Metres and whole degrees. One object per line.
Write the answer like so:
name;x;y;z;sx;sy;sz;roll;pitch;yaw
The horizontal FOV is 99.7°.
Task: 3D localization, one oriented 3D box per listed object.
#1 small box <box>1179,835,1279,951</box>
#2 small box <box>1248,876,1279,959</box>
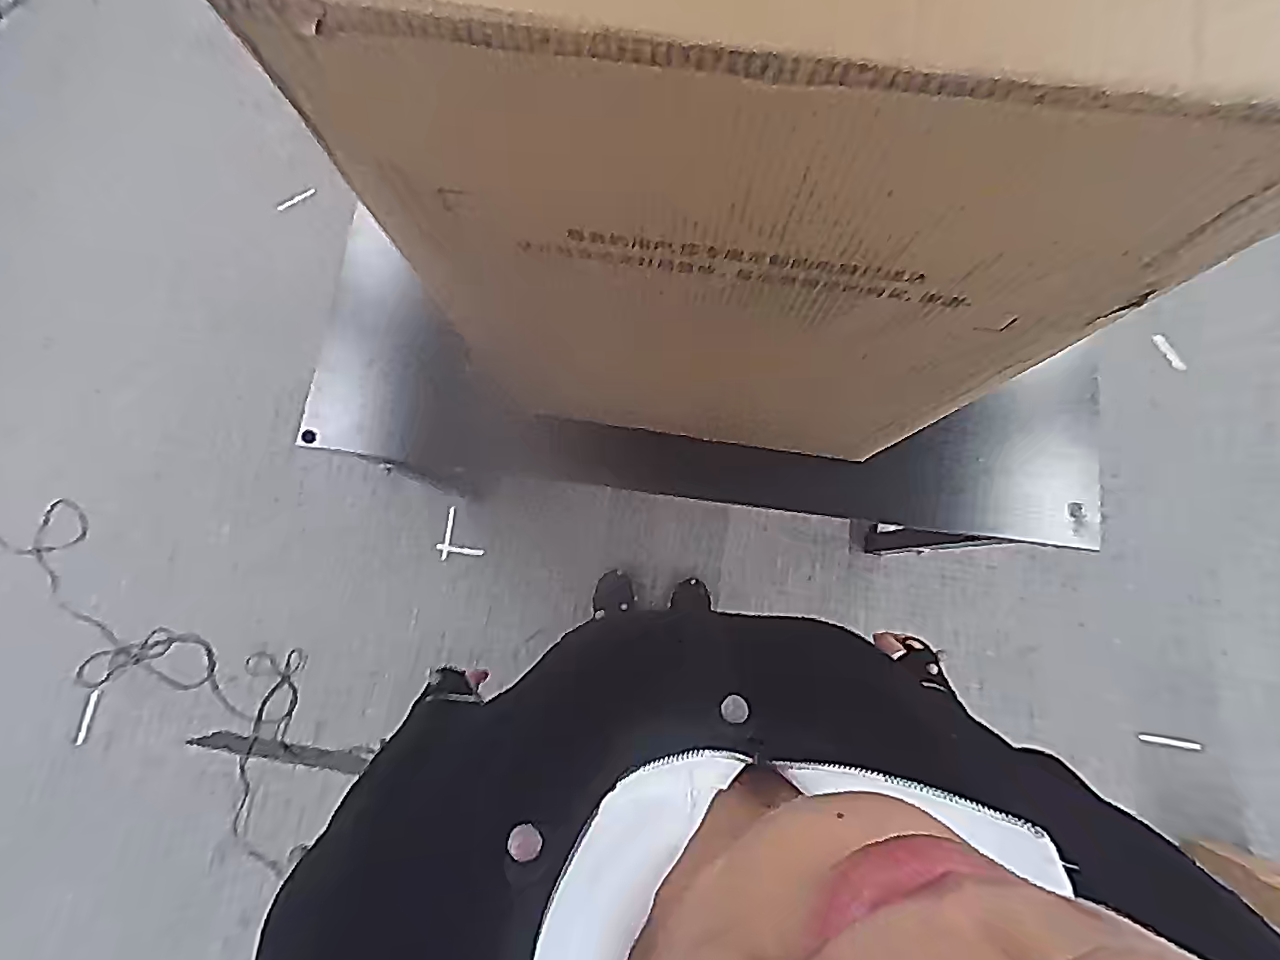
small box;1.435;0.980;1.276;0.168;0.176;0.179;12;82;3
small box;1.435;0.961;1.113;0.179;0.176;0.168;11;81;3
